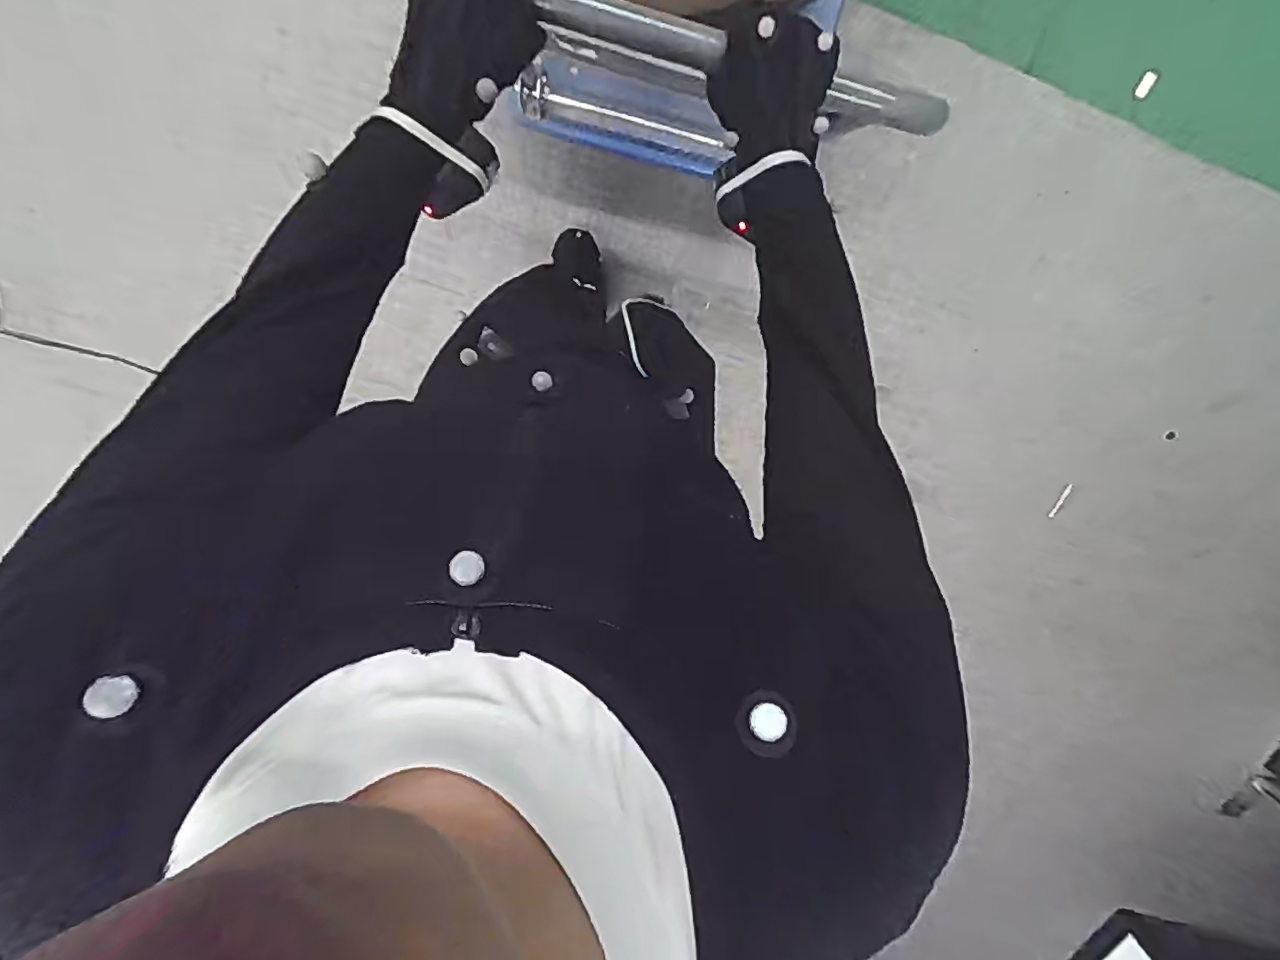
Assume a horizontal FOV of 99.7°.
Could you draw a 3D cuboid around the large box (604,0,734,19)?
[{"bbox_3d":[0.121,-0.946,0.790,0.408,0.320,0.320,-7,112,1],"label":"large box"}]
